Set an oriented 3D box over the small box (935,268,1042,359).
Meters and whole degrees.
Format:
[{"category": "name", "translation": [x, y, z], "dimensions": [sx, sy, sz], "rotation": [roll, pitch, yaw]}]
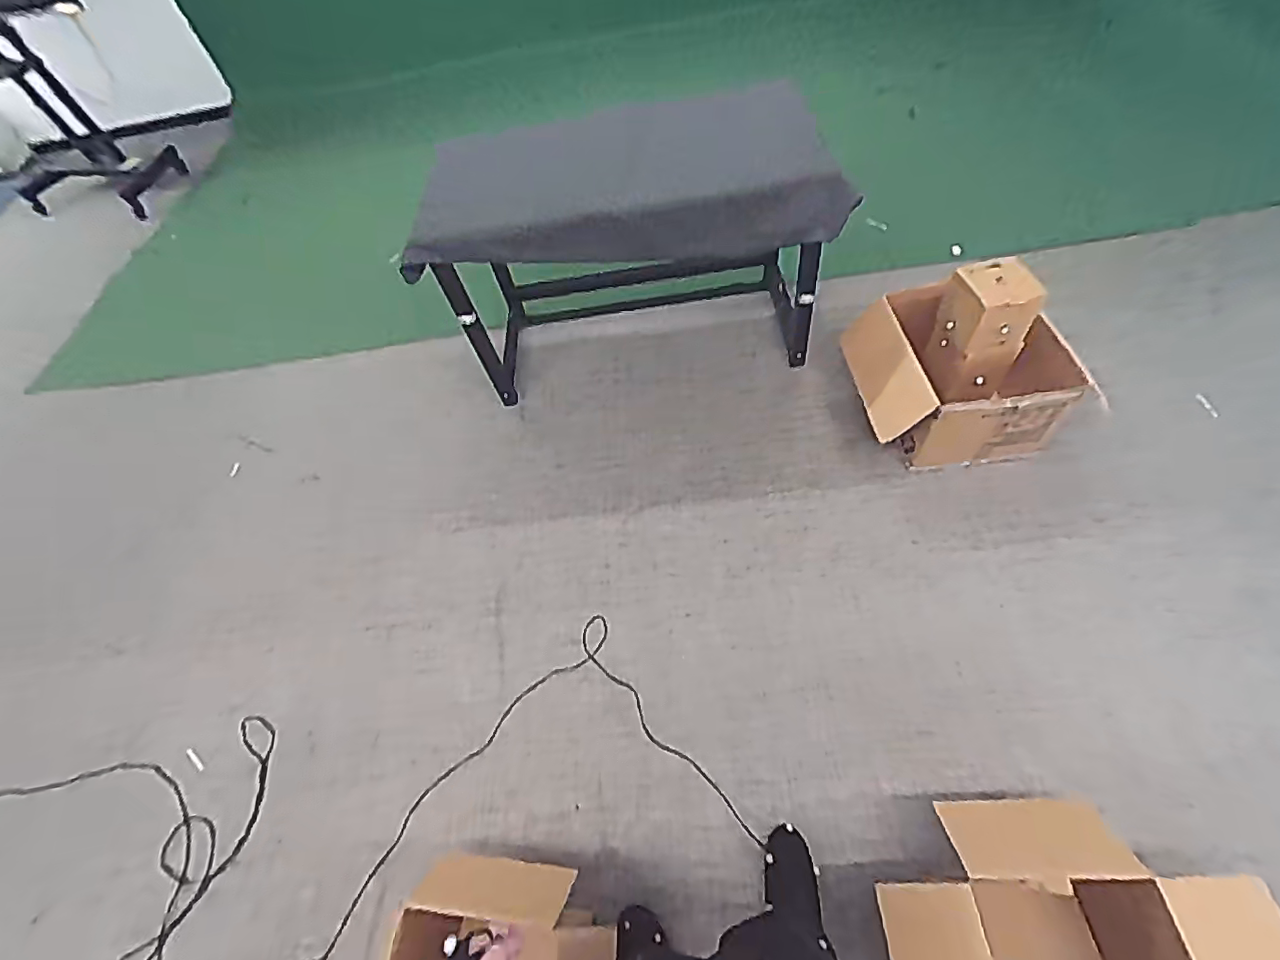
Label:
[{"category": "small box", "translation": [0.975, -0.462, 1.529], "dimensions": [0.168, 0.176, 0.179], "rotation": [-13, 55, 0]}]
